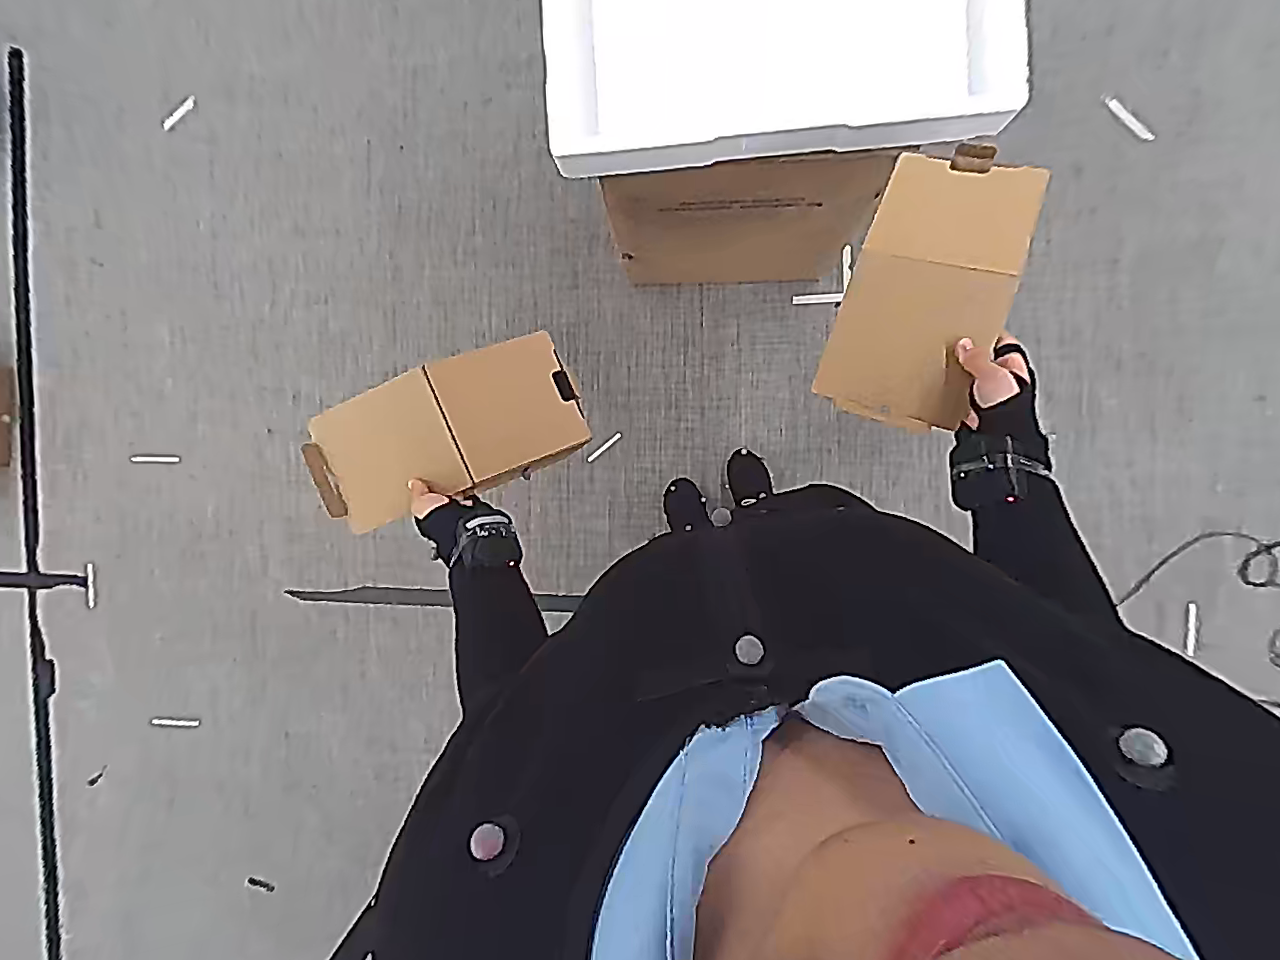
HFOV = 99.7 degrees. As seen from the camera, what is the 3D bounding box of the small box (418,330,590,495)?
[{"bbox_3d":[-0.198,-0.087,0.774,0.179,0.176,0.168,-24,92,-22],"label":"small box"}]
